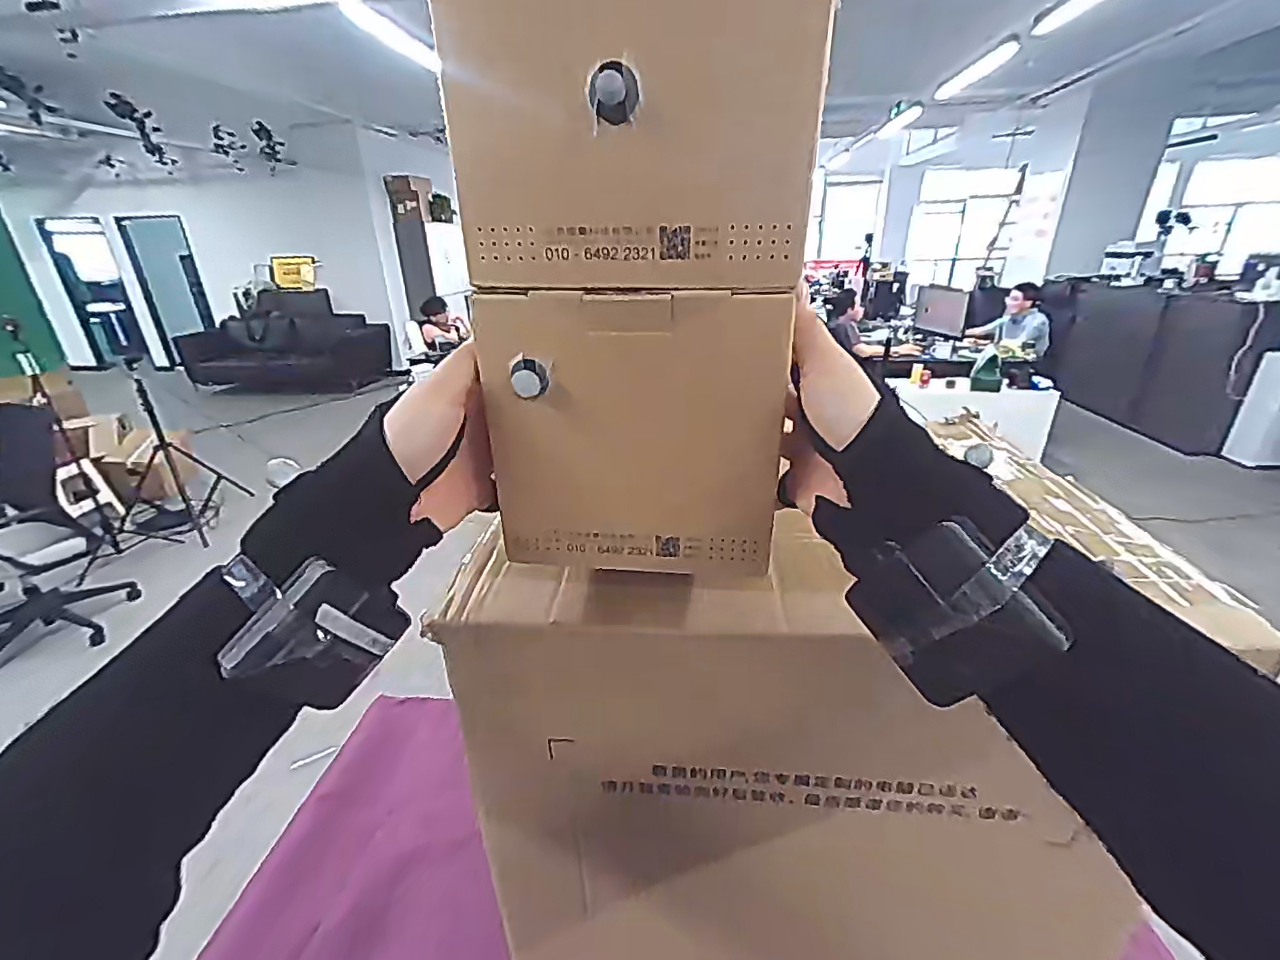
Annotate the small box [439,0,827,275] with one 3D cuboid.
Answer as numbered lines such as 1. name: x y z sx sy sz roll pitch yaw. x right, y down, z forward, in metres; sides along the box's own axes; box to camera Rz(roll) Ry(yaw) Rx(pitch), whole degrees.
1. small box: 0.005 -0.210 0.302 0.168 0.176 0.179 2 26 5
